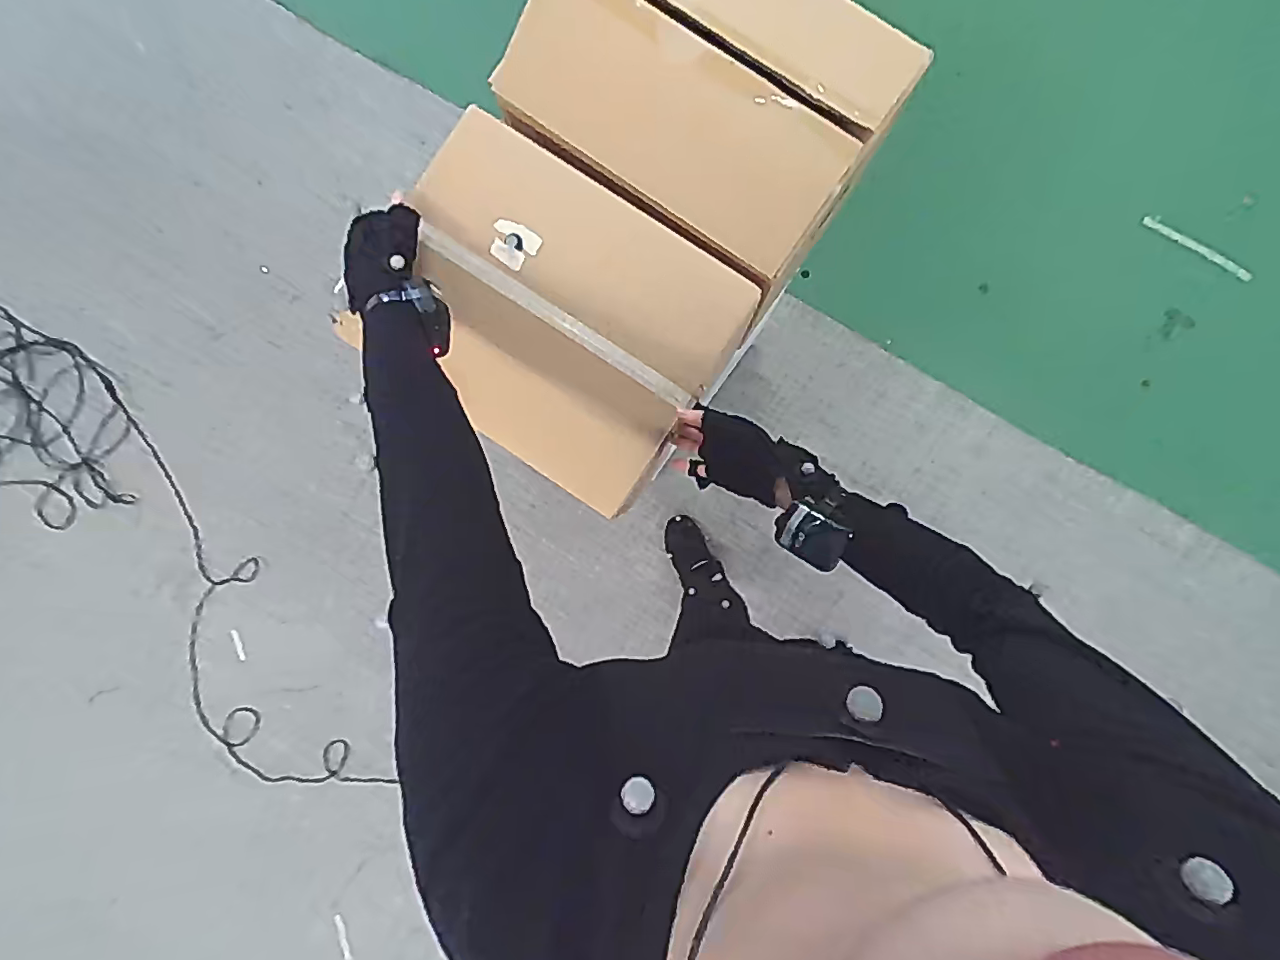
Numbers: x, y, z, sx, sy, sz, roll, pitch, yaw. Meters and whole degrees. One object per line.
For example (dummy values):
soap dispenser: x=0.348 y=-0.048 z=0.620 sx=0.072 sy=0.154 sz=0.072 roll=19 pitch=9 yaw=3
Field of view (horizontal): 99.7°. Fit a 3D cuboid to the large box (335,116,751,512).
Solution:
large box: x=-0.104 y=-0.193 z=0.769 sx=0.408 sy=0.320 sz=0.320 roll=33 pitch=92 yaw=5
